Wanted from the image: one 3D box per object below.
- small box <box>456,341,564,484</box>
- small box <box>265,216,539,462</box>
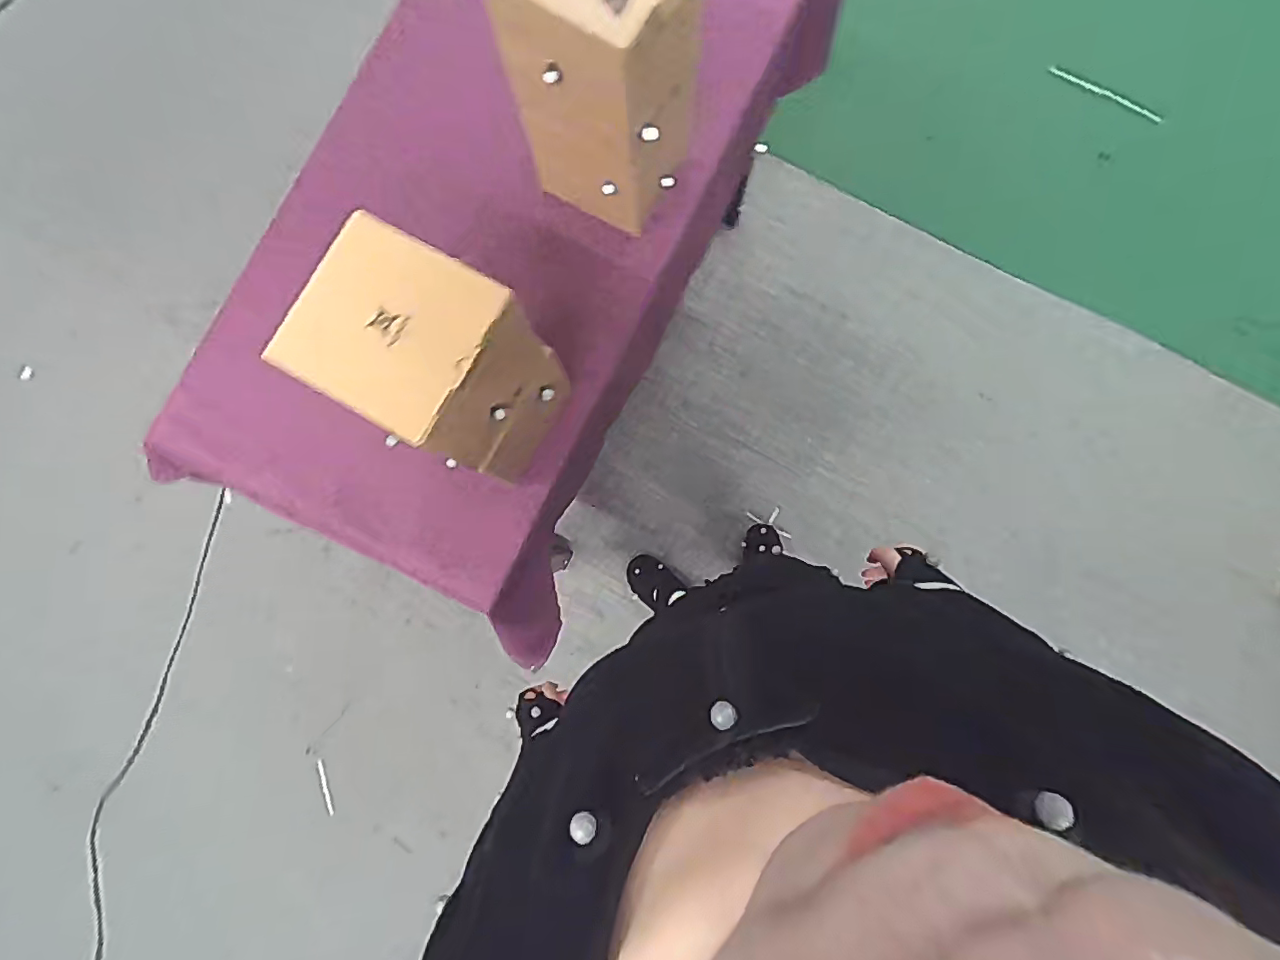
[{"bbox_3d":[-0.218,-0.112,0.743,0.168,0.176,0.179,28,85,6],"label":"small box"},{"bbox_3d":[-0.234,-0.134,0.582,0.179,0.176,0.168,29,85,5],"label":"small box"}]
